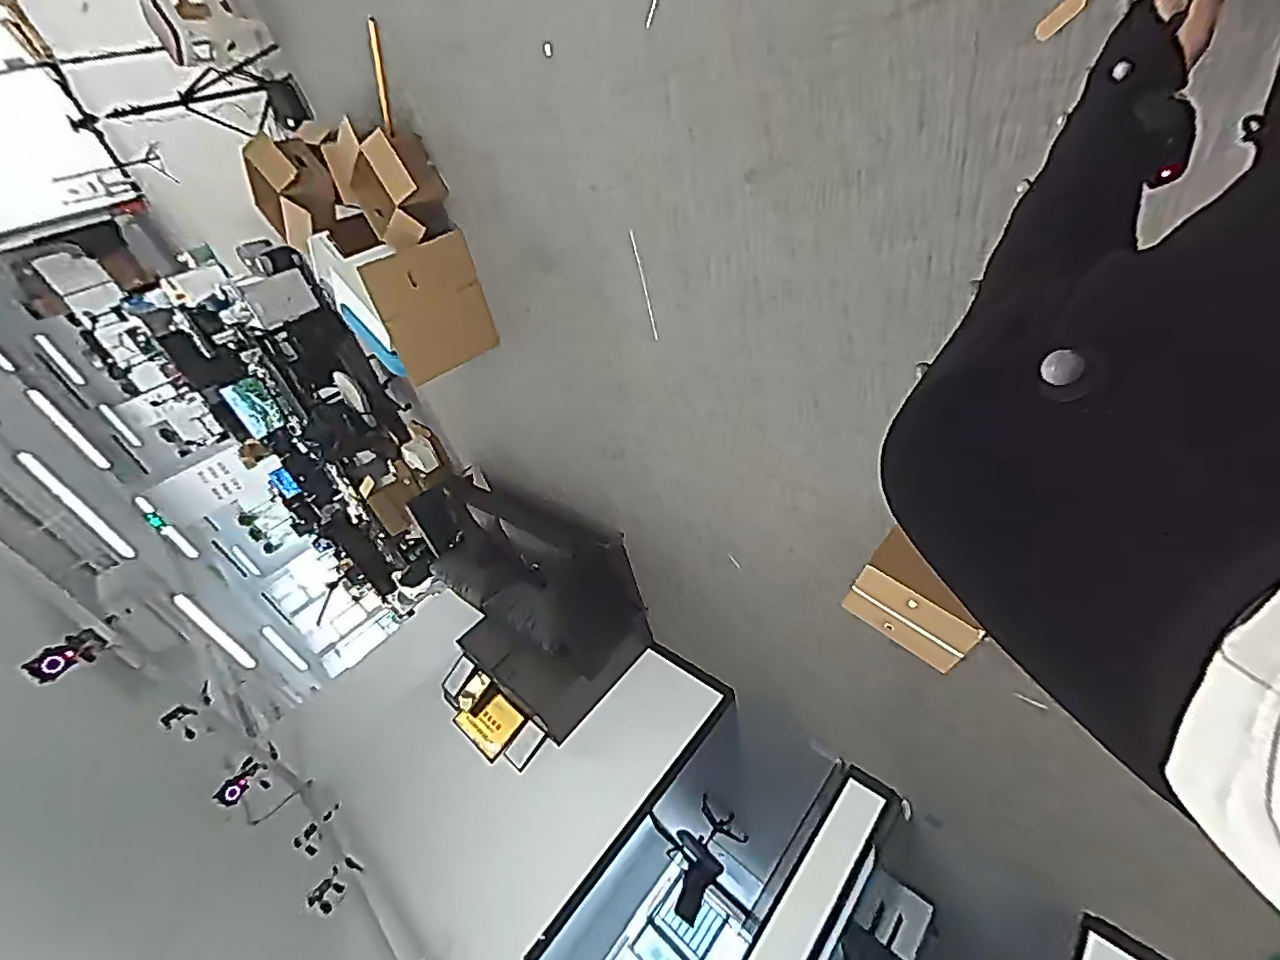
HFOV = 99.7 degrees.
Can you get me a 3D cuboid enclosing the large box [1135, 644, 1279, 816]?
[{"bbox_3d":[1.676,0.668,1.456,0.320,0.320,0.408,54,148,-9],"label":"large box"}]
